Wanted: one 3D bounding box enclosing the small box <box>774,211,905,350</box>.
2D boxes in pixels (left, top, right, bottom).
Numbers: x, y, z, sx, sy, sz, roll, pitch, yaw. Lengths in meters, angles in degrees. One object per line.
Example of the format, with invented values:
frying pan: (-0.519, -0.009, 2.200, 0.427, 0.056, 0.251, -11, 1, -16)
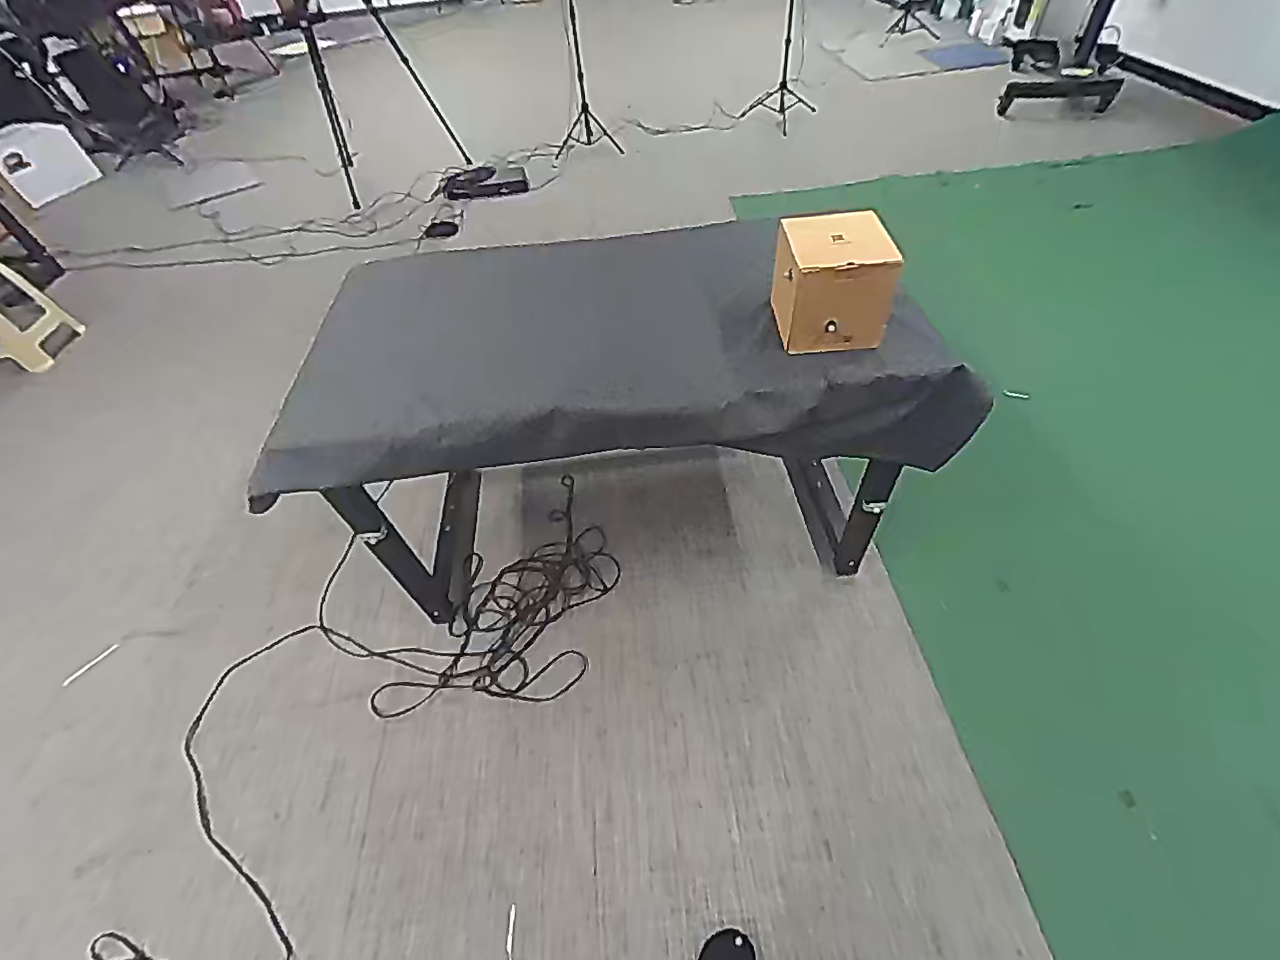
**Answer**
small box: (0.341, -0.354, 0.966, 0.168, 0.176, 0.179, -4, 50, 3)
